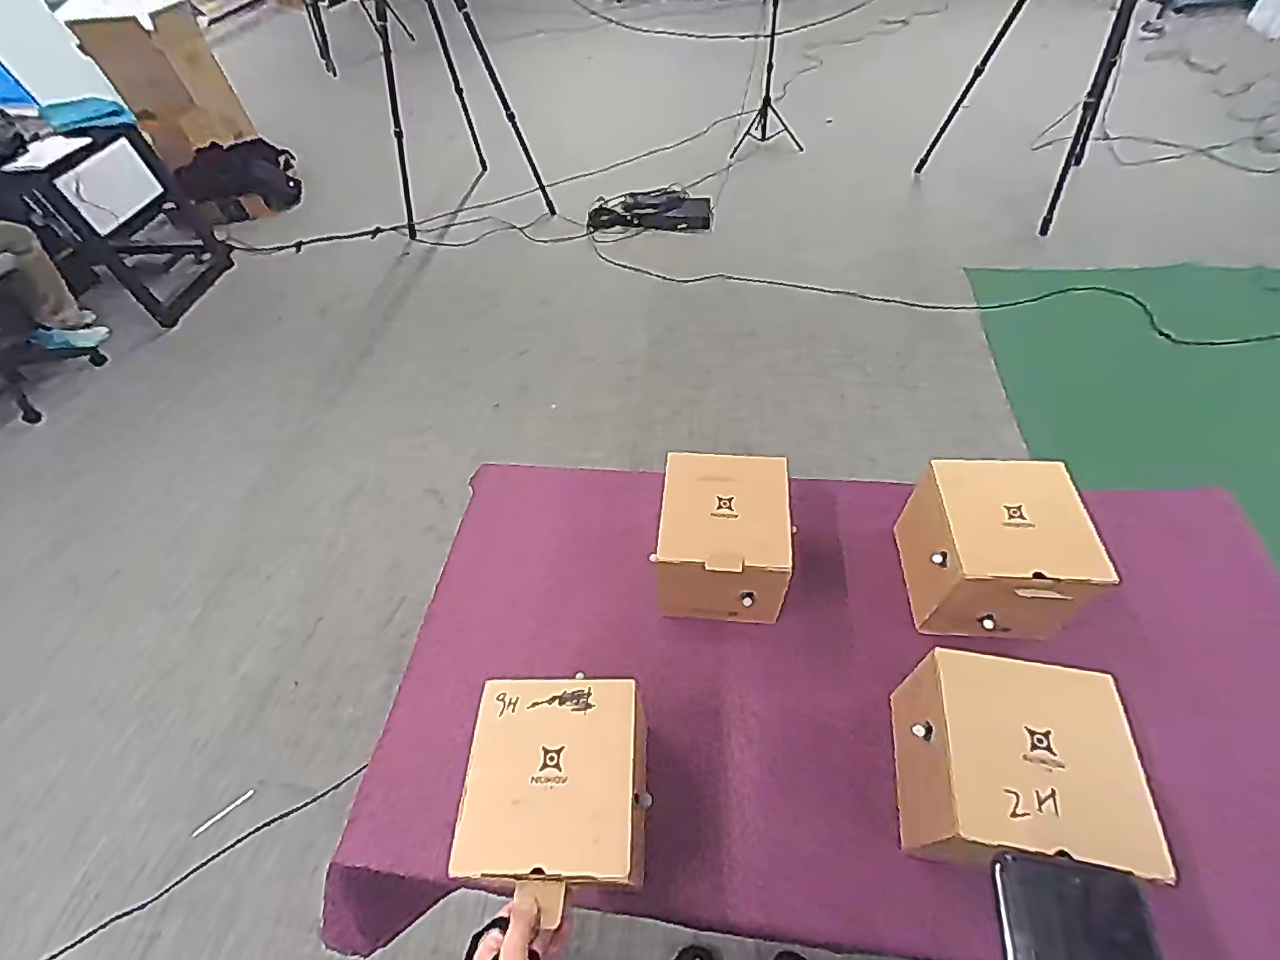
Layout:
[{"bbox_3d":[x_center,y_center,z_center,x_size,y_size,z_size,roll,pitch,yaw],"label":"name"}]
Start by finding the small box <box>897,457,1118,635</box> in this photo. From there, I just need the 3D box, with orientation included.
[{"bbox_3d":[0.463,0.089,0.721,0.168,0.176,0.179,0,53,7],"label":"small box"}]

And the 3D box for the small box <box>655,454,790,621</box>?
[{"bbox_3d":[0.116,0.085,0.763,0.168,0.176,0.179,3,53,7],"label":"small box"}]

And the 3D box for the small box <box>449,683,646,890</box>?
[{"bbox_3d":[-0.082,0.335,0.588,0.168,0.176,0.179,-2,51,4],"label":"small box"}]

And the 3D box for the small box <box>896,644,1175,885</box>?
[{"bbox_3d":[0.380,0.297,0.566,0.168,0.176,0.179,6,53,11],"label":"small box"}]
